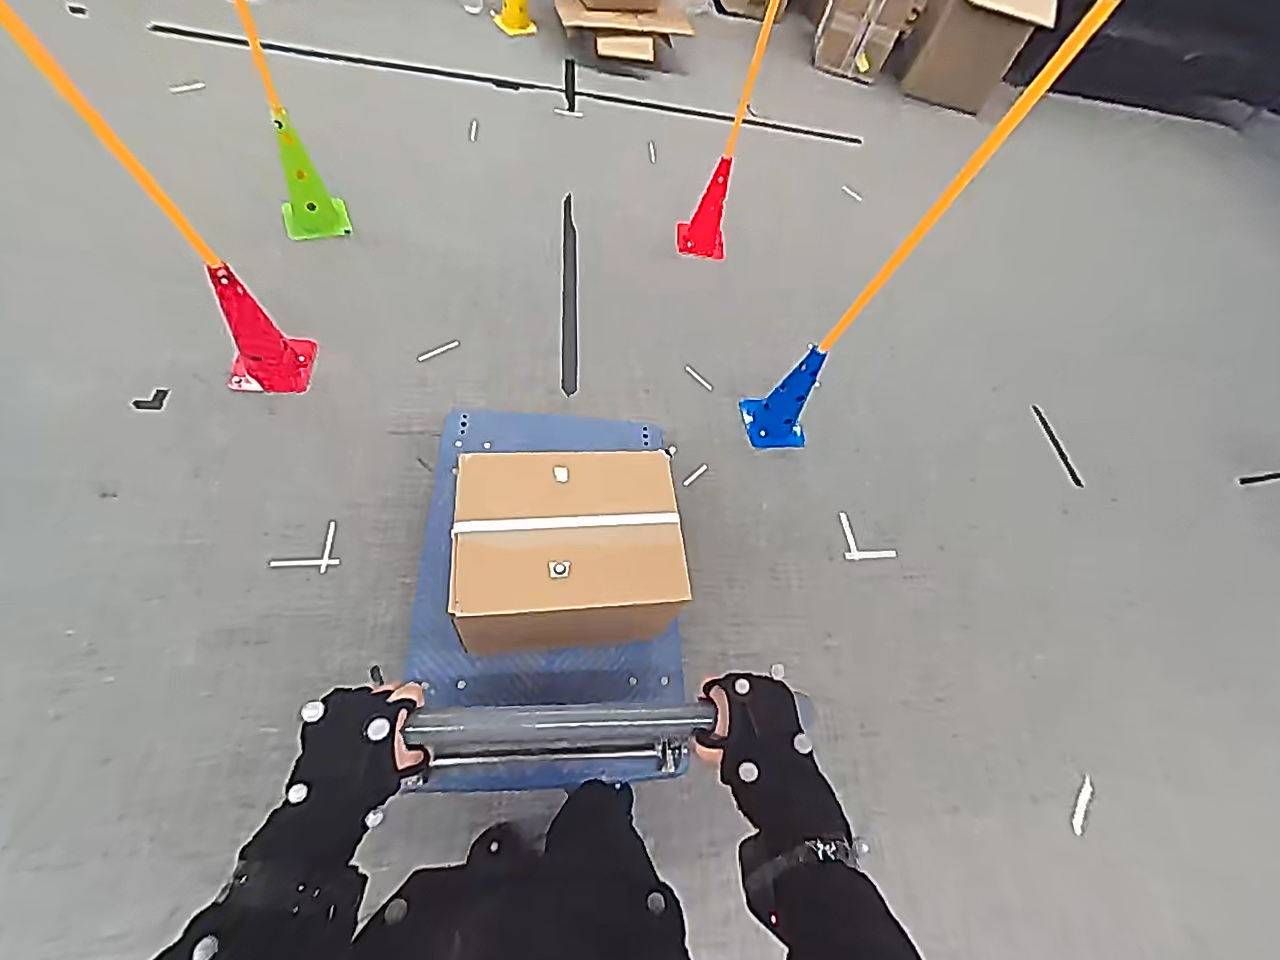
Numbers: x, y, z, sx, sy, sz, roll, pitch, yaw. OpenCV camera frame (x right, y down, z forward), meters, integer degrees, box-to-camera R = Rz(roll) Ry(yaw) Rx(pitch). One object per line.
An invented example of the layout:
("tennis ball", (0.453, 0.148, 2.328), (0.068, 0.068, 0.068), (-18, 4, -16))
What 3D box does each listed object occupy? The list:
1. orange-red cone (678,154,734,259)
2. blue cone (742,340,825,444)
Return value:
("orange-red cone", (0.289, -1.078, 2.097), (0.199, 0.360, 0.198), (8, 60, -9))
("blue cone", (0.480, -0.283, 1.695), (0.193, 0.380, 0.192), (-2, 60, -14))
